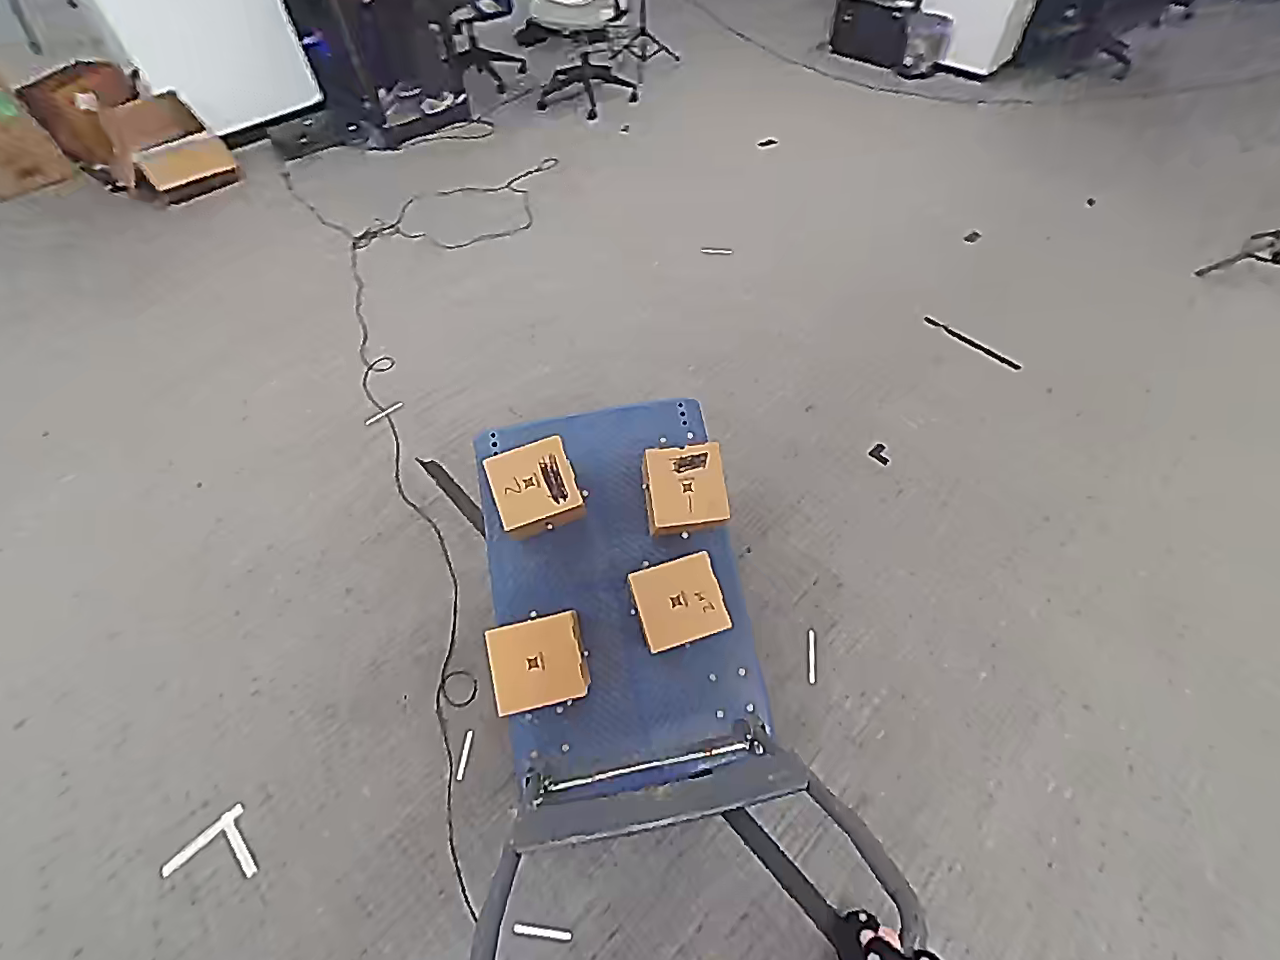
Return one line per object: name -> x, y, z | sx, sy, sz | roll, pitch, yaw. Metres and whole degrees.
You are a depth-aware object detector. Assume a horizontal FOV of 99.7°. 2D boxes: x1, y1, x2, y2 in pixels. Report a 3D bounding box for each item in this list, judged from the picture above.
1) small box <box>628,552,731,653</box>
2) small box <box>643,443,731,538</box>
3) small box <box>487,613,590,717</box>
small box -> 0.080, 0.268, 1.183 | 0.179, 0.176, 0.168 | -17, 78, -6
small box -> 0.100, 0.029, 1.241 | 0.168, 0.176, 0.179 | -7, 78, -4
small box -> -0.207, 0.384, 1.144 | 0.179, 0.176, 0.168 | -13, 77, -7
